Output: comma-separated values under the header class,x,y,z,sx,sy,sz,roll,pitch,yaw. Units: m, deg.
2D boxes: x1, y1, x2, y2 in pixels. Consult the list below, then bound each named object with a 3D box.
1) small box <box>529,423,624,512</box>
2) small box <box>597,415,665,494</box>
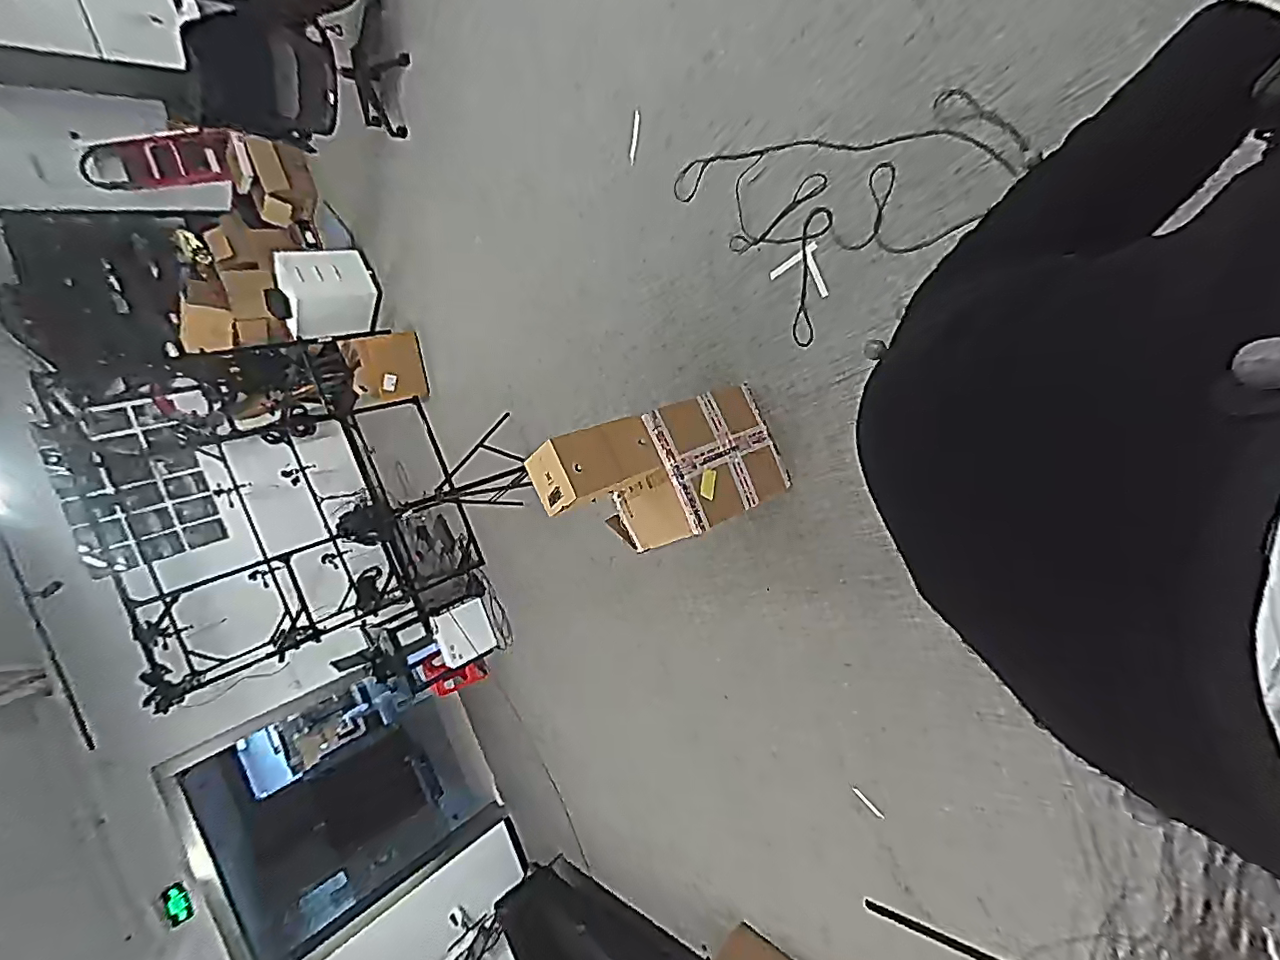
class,x,y,z,sx,sy,sz,roll,pitch,yaw
small box,-0.172,-0.037,1.497,0.168,0.176,0.179,-32,81,48
small box,-0.058,-0.082,1.609,0.168,0.176,0.179,-33,81,48
